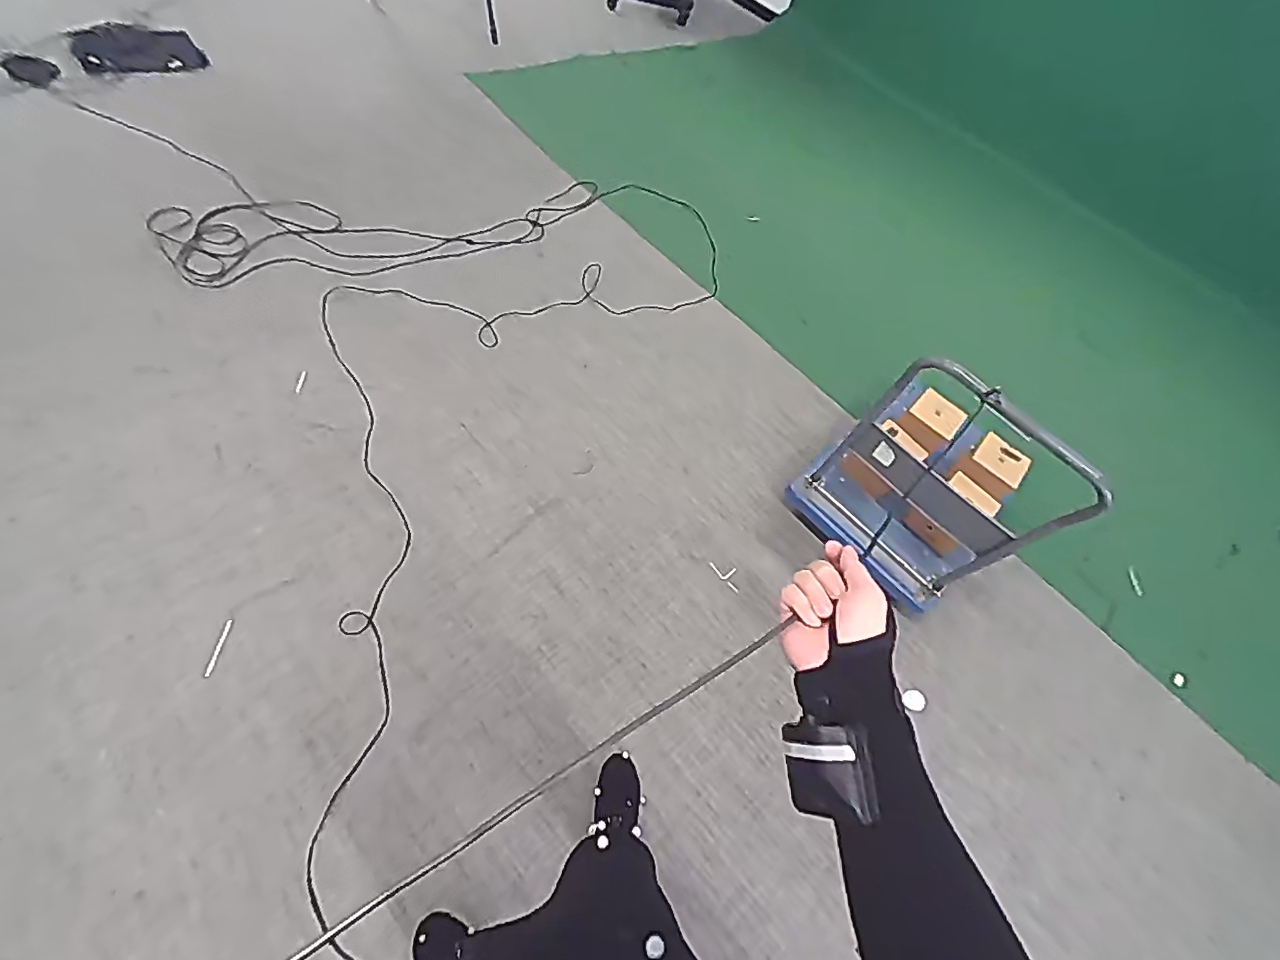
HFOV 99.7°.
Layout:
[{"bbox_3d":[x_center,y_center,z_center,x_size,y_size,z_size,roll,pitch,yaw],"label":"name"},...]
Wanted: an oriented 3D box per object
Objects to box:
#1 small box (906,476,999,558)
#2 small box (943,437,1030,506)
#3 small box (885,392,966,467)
[{"bbox_3d":[1.010,0.123,1.761,0.179,0.176,0.168,-34,72,-28],"label":"small box"},{"bbox_3d":[1.204,-0.013,1.891,0.168,0.176,0.179,42,60,15],"label":"small box"},{"bbox_3d":[1.023,-0.177,1.951,0.168,0.176,0.179,43,59,13],"label":"small box"}]
